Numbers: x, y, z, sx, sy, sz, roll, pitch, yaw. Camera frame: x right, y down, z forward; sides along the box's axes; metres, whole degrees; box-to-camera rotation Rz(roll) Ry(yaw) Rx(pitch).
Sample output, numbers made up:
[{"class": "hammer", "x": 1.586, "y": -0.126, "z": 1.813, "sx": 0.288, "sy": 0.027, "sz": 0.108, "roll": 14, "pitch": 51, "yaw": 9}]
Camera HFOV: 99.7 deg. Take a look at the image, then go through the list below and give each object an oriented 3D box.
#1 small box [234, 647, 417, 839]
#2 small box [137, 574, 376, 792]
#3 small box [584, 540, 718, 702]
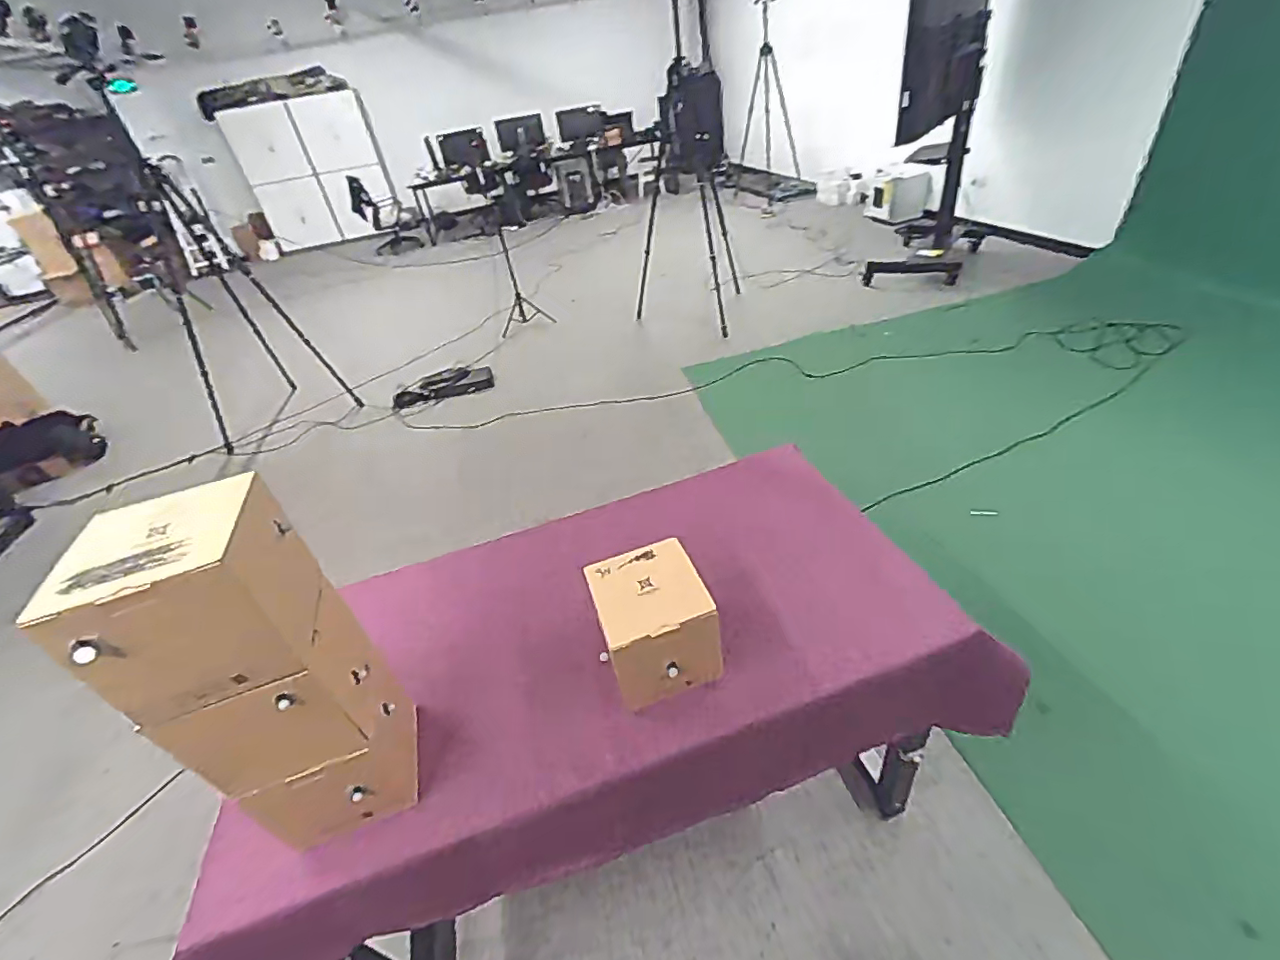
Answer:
[{"class": "small box", "x": -0.436, "y": 0.385, "z": 0.787, "sx": 0.168, "sy": 0.176, "sz": 0.179, "roll": -17, "pitch": 37, "yaw": -11}, {"class": "small box", "x": -0.463, "y": 0.258, "z": 0.690, "sx": 0.179, "sy": 0.176, "sz": 0.168, "roll": -18, "pitch": 37, "yaw": -13}, {"class": "small box", "x": 0.020, "y": 0.234, "z": 0.879, "sx": 0.168, "sy": 0.176, "sz": 0.179, "roll": -17, "pitch": 38, "yaw": -9}]
